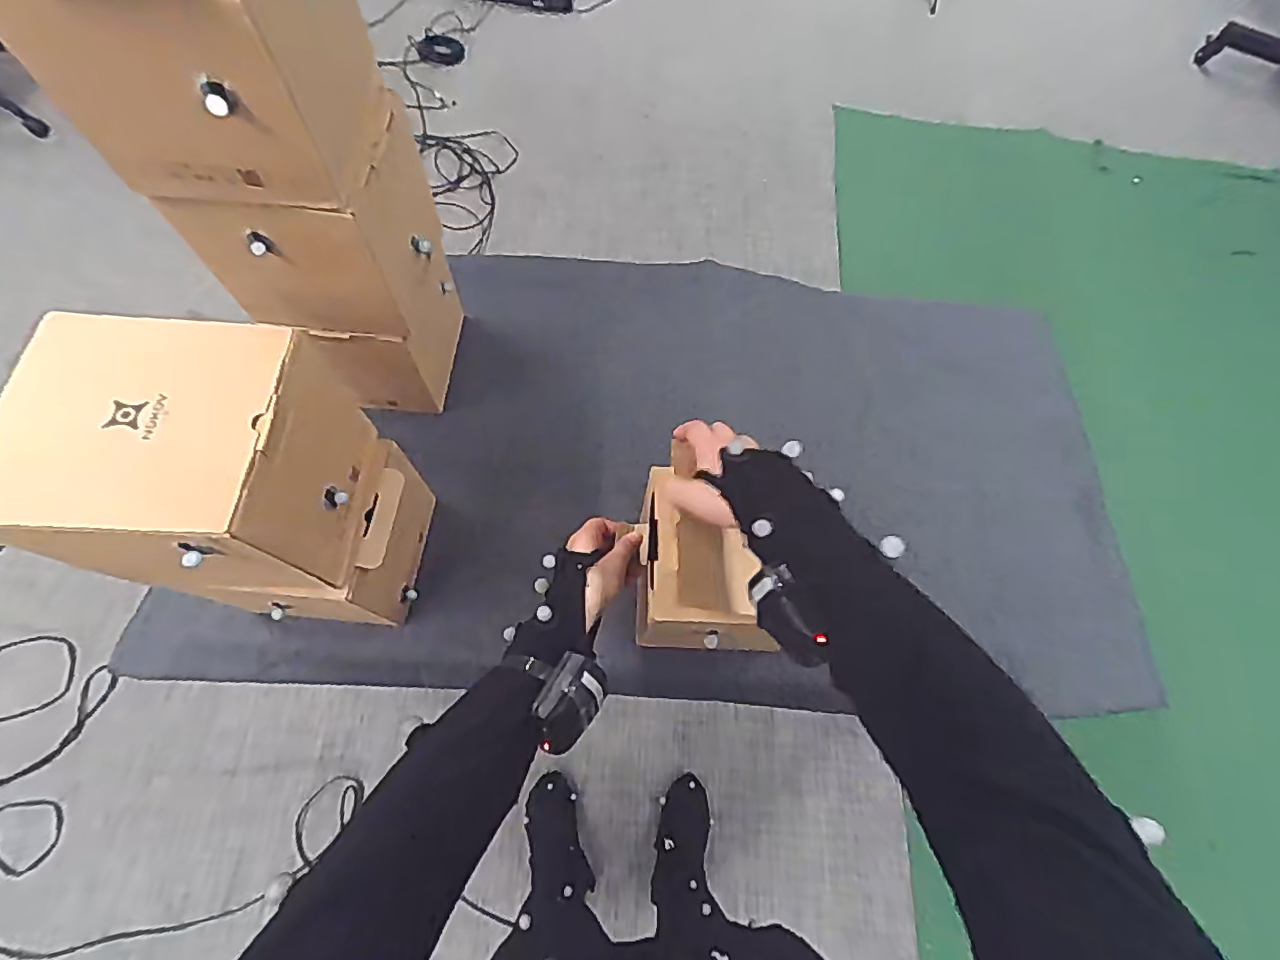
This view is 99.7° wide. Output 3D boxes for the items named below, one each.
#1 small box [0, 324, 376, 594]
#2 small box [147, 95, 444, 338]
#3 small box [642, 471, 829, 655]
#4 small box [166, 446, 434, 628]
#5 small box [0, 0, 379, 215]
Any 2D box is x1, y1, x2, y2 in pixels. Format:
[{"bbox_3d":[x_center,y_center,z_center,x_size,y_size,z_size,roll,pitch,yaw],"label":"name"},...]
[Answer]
[{"bbox_3d":[-0.348,-0.005,0.443,0.179,0.176,0.168,2,66,-4],"label":"small box"},{"bbox_3d":[-0.323,-0.265,0.554,0.179,0.176,0.168,5,67,-3],"label":"small box"},{"bbox_3d":[0.093,0.101,0.611,0.179,0.176,0.168,2,66,-1],"label":"small box"},{"bbox_3d":[-0.345,0.063,0.591,0.179,0.176,0.168,6,66,-2],"label":"small box"},{"bbox_3d":[-0.318,-0.329,0.405,0.168,0.176,0.179,2,66,-5],"label":"small box"}]
